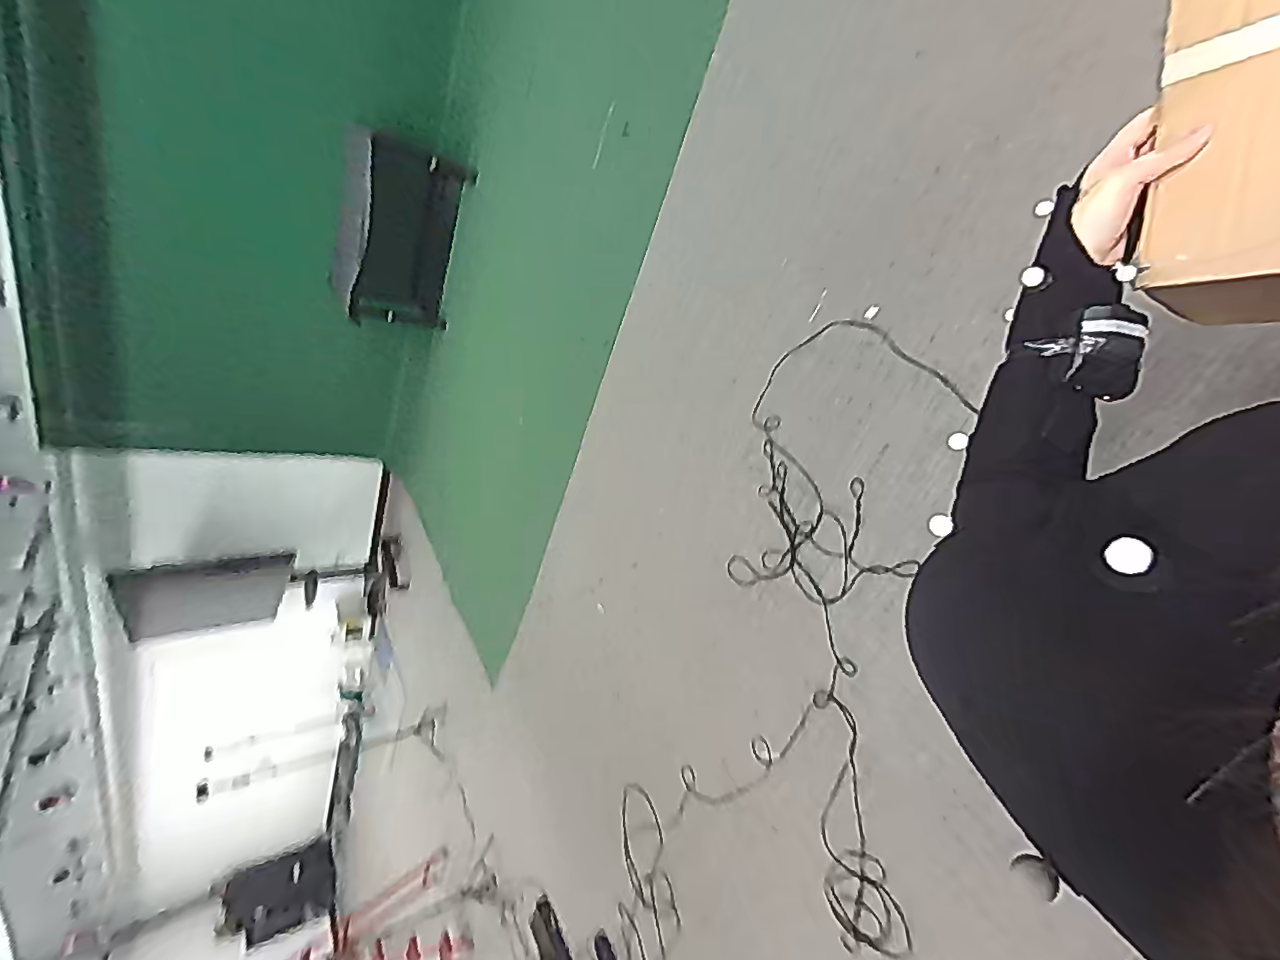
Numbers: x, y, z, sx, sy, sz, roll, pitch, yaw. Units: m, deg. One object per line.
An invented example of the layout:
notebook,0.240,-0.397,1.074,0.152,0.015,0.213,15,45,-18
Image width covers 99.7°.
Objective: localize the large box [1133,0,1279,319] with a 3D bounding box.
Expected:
large box,0.644,-0.302,0.358,0.408,0.320,0.320,9,101,53
